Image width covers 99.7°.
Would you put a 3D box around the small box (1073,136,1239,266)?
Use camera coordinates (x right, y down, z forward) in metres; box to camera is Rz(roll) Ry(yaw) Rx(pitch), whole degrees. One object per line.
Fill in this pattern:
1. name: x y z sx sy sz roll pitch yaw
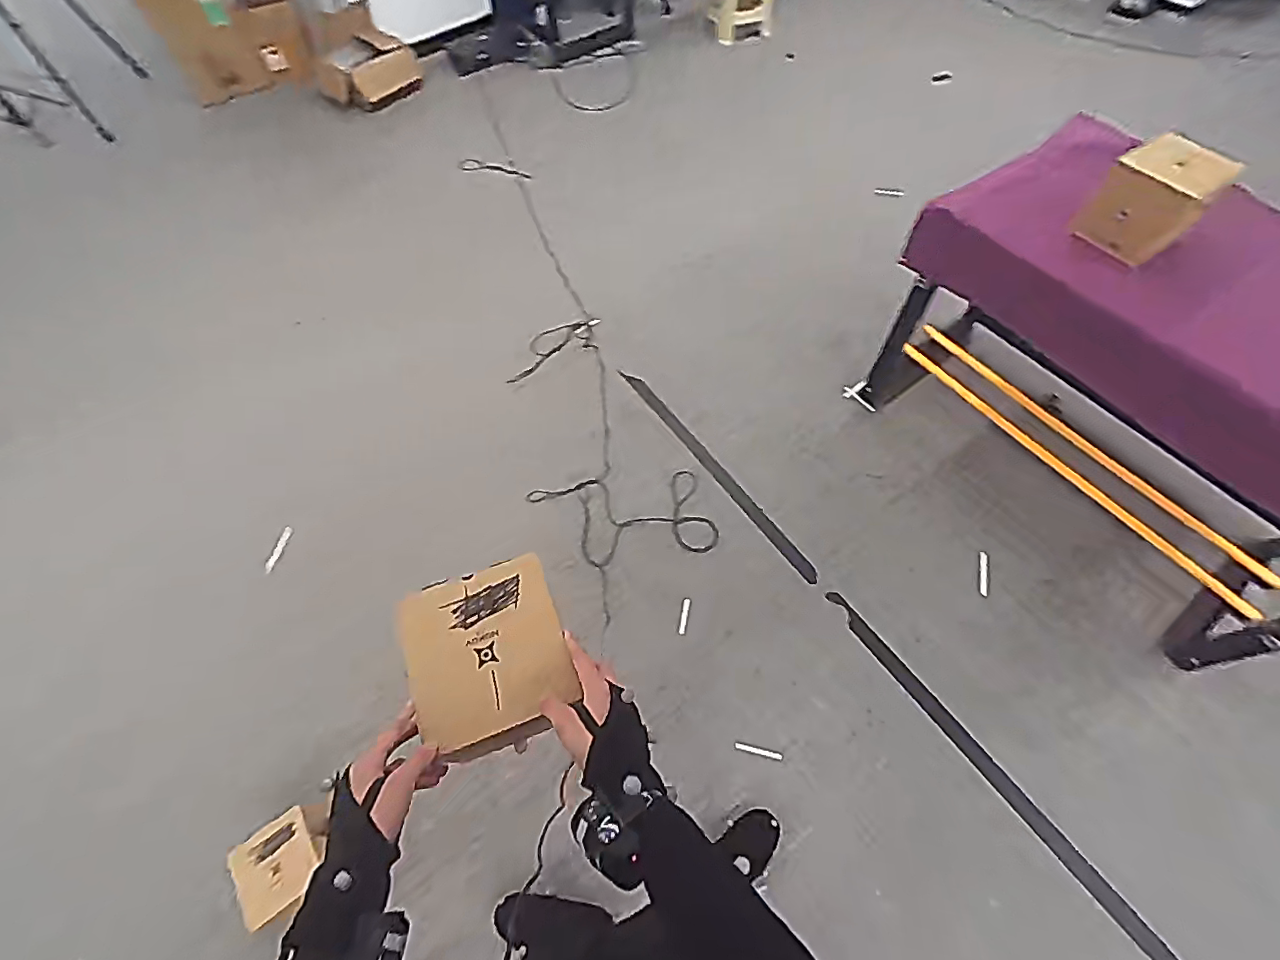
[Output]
1. small box: 1.107 -0.603 1.182 0.179 0.176 0.168 -30 64 -14

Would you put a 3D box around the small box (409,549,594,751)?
1. small box: -0.158 0.210 0.651 0.168 0.176 0.179 -17 65 -11
